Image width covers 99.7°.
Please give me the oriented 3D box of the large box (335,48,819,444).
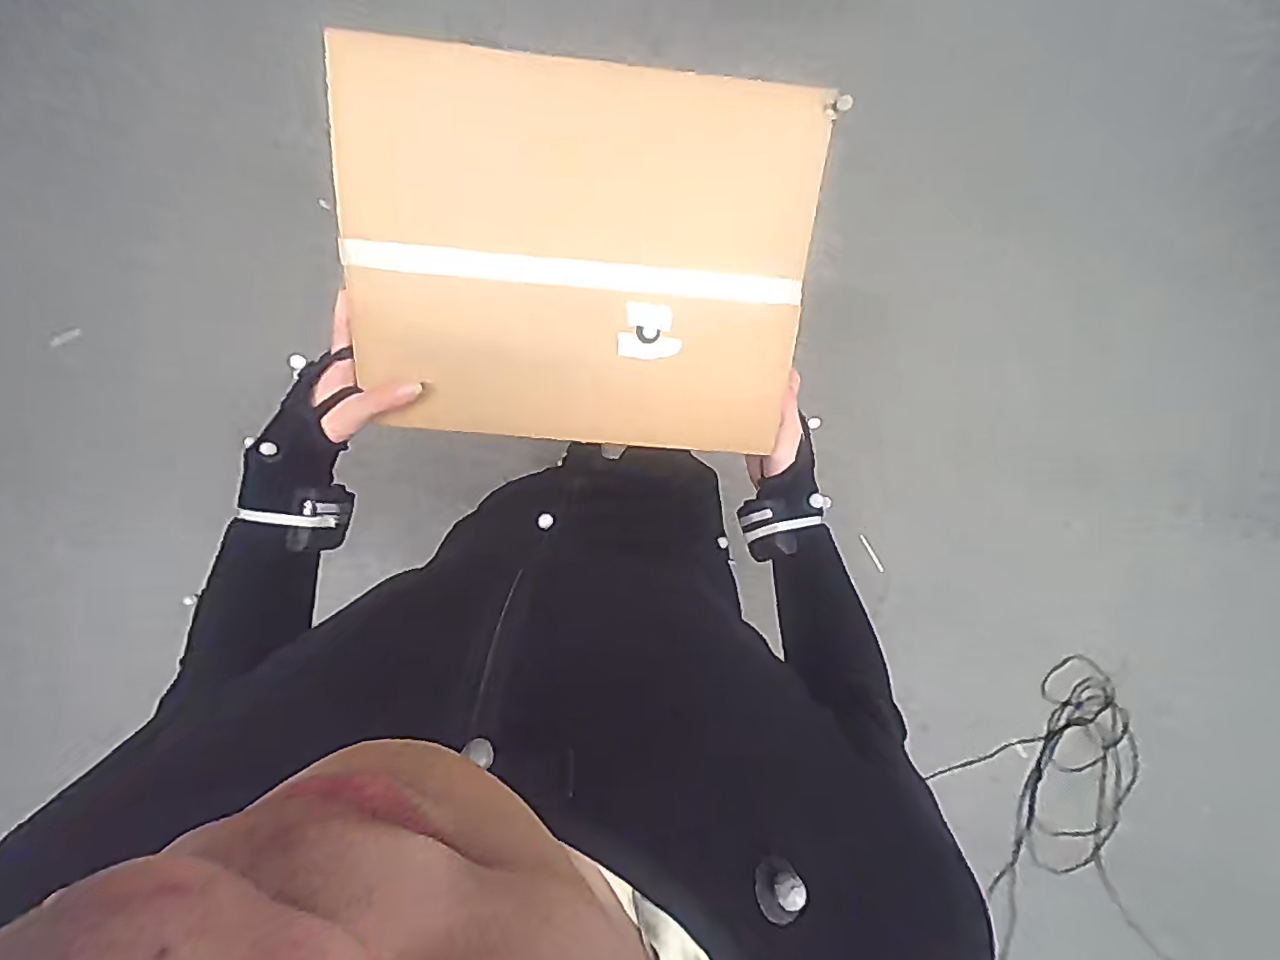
[{"bbox_3d":[-0.064,-0.238,0.629,0.408,0.320,0.320,3,110,-4],"label":"large box"}]
